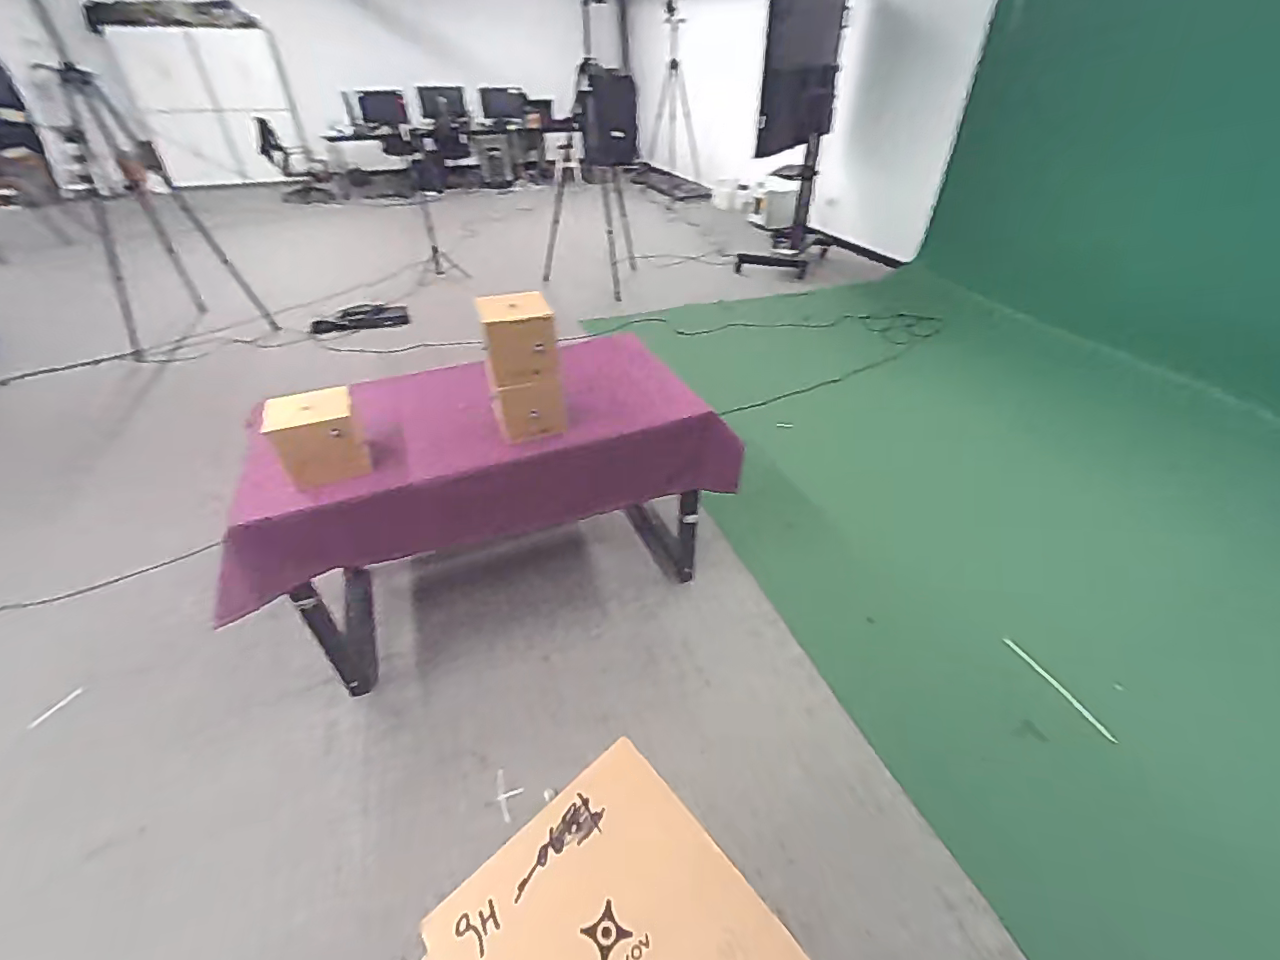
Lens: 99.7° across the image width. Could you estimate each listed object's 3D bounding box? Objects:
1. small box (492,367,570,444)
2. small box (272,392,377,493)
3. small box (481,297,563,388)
[{"bbox_3d":[-0.292,-0.210,1.460,0.168,0.176,0.179,-14,39,-17],"label":"small box"},{"bbox_3d":[-0.760,-0.091,1.316,0.179,0.176,0.168,-15,39,-20],"label":"small box"},{"bbox_3d":[-0.296,-0.342,1.364,0.168,0.176,0.179,-12,38,-15],"label":"small box"}]
